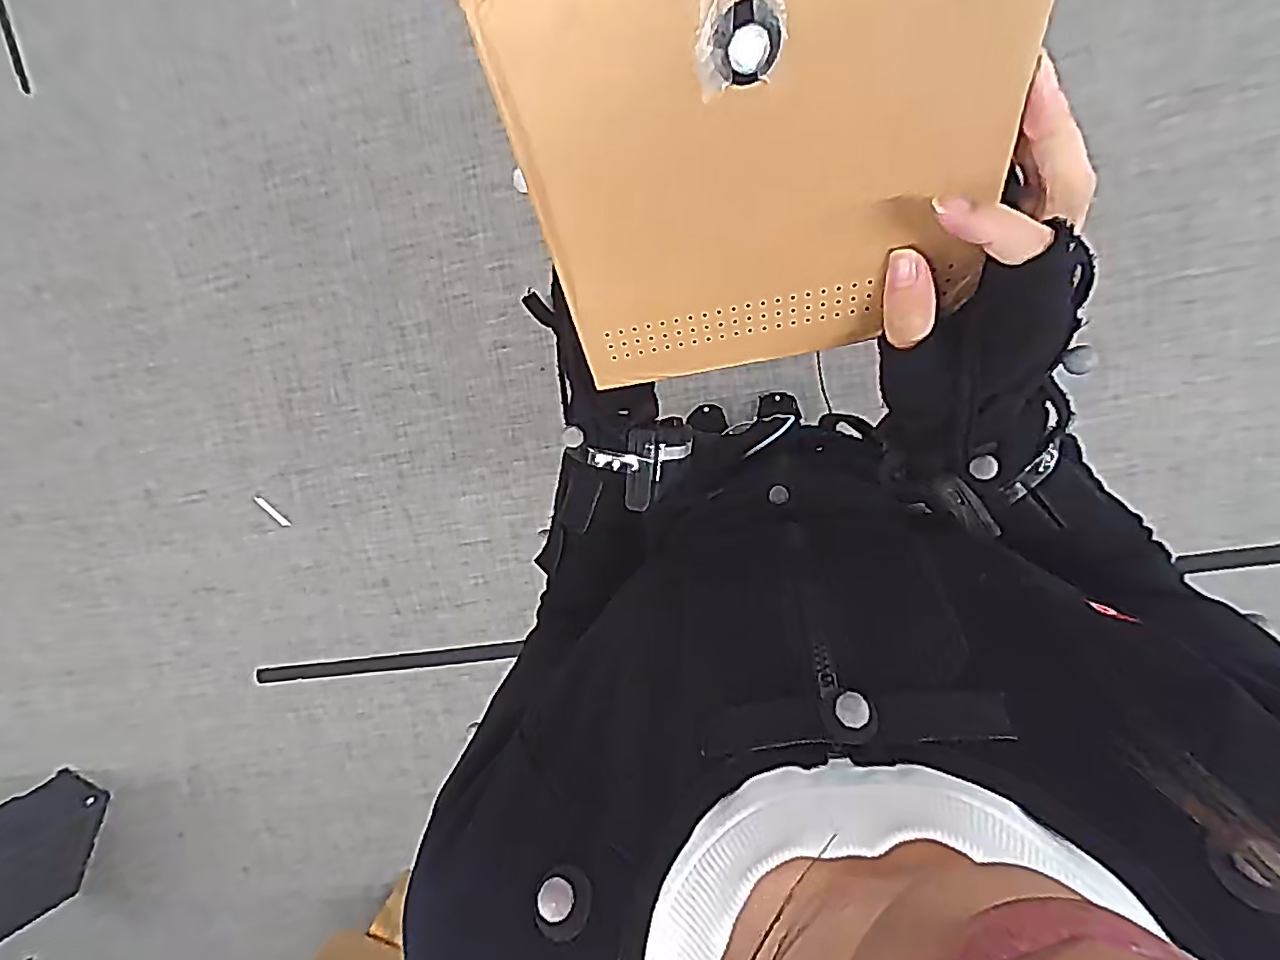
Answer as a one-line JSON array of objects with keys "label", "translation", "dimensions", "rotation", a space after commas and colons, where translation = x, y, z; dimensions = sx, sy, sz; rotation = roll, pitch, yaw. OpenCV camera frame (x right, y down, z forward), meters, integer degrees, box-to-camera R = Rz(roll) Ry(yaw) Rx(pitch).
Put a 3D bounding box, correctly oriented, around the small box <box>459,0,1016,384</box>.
[{"label": "small box", "translation": [0.047, -0.165, 0.258], "dimensions": [0.179, 0.168, 0.176], "rotation": [-8, 138, 9]}]
